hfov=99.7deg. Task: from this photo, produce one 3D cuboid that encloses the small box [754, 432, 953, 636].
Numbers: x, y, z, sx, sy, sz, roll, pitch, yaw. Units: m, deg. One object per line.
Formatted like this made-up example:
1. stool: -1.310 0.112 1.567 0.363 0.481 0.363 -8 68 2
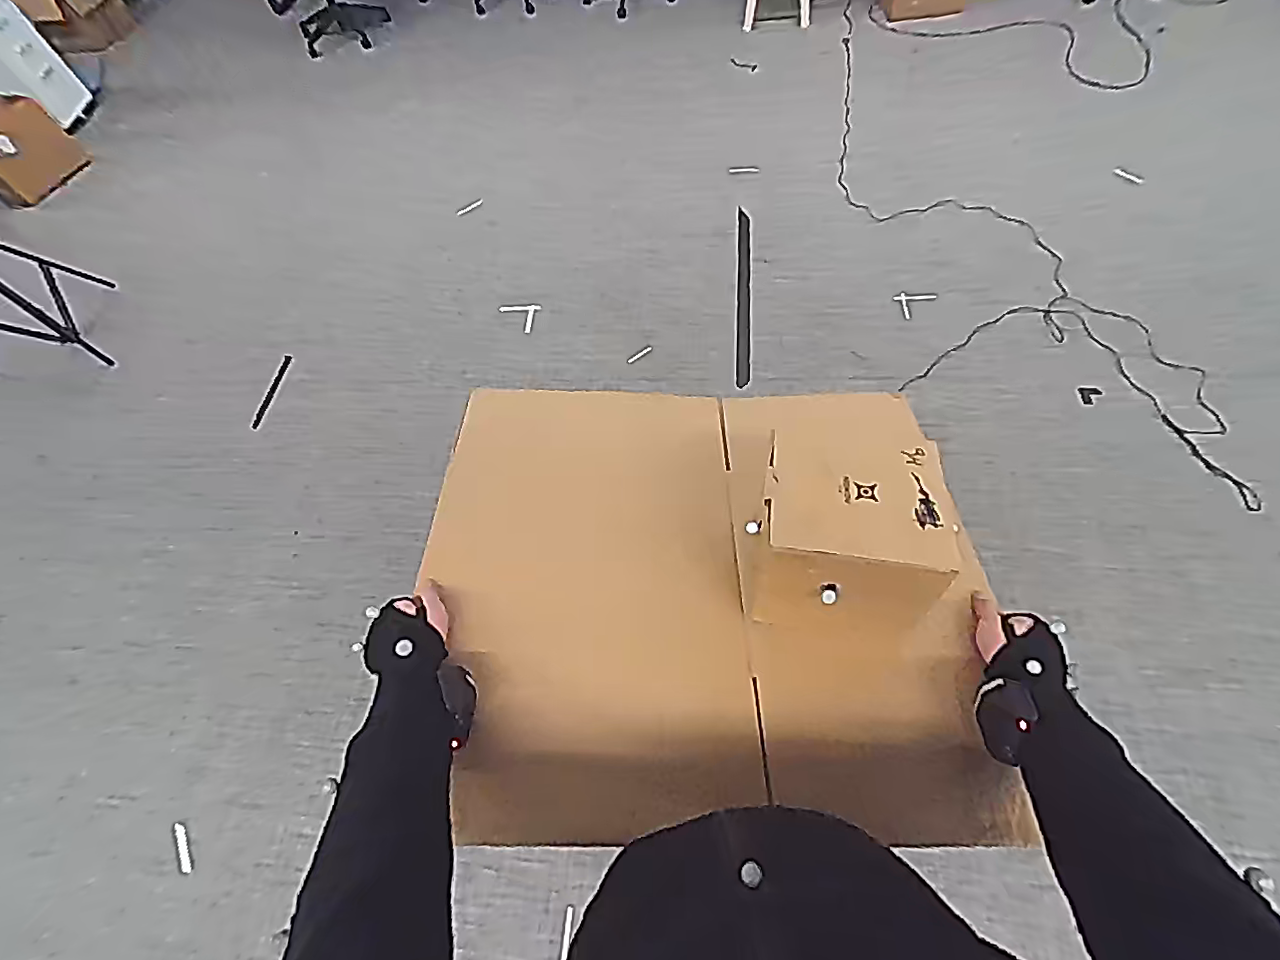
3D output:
1. small box: 0.228 0.065 0.624 0.179 0.176 0.168 6 53 10
